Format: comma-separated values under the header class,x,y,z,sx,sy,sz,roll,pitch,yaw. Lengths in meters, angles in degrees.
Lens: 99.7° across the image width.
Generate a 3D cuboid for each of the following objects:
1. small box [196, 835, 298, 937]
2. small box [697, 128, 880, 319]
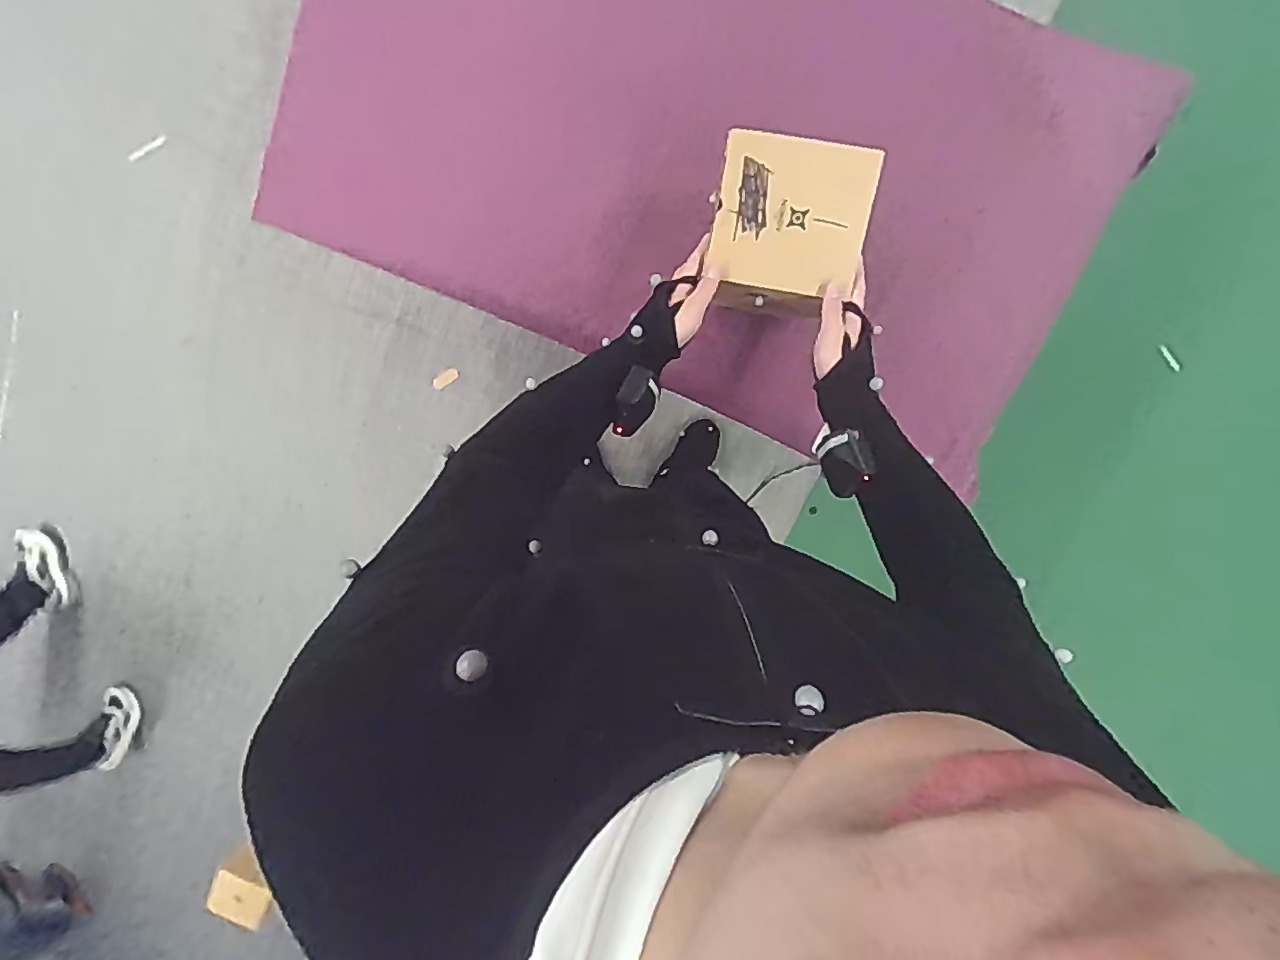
class,x,y,z,sx,sy,sz,roll,pitch,yaw
small box,-1.236,1.274,1.710,0.179,0.176,0.168,25,100,-1
small box,0.173,-0.312,0.693,0.179,0.176,0.168,11,99,2
